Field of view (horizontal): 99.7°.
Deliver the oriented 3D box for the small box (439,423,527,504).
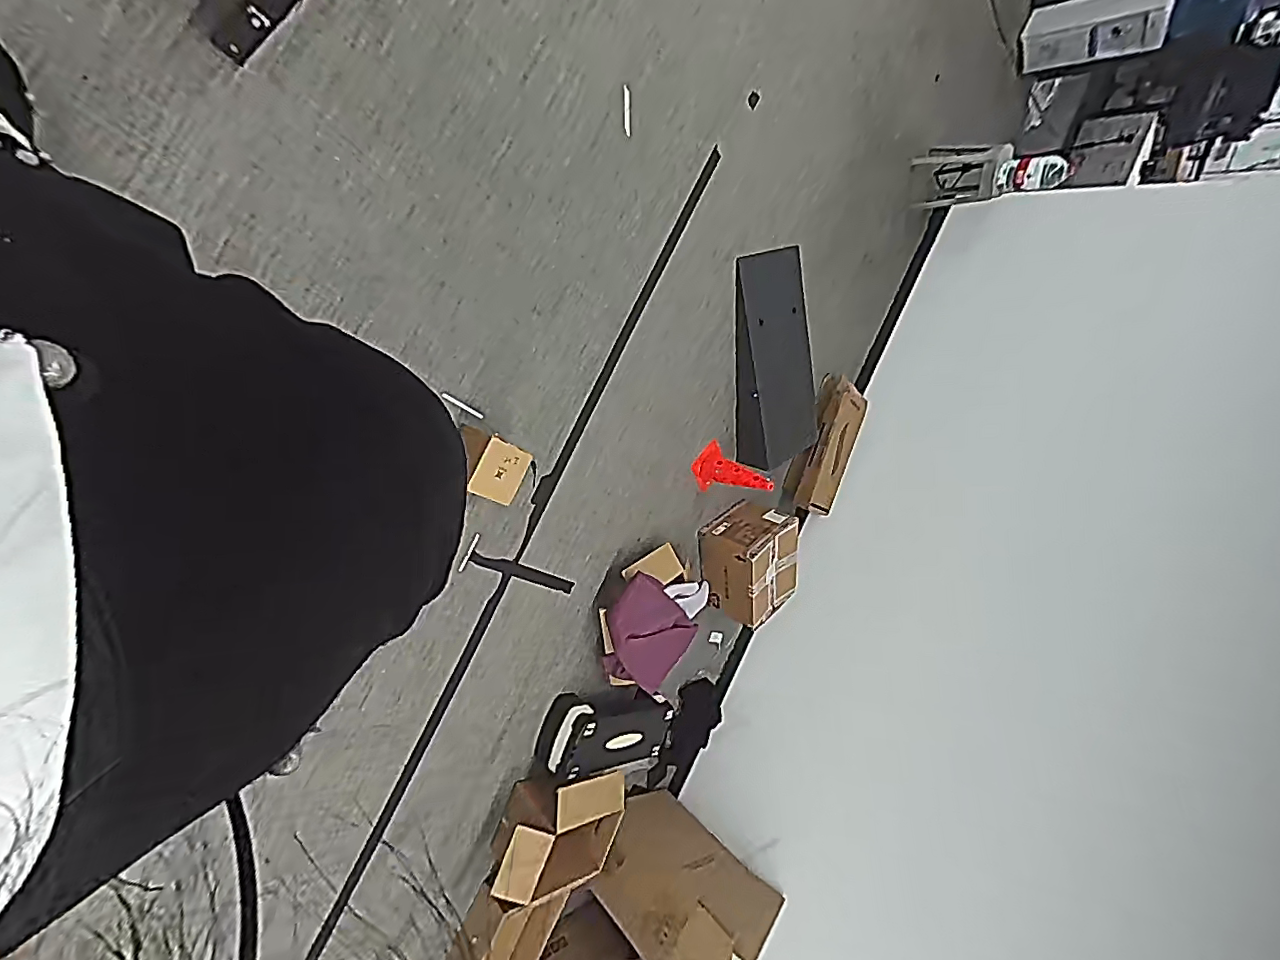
[{"bbox_3d":[-0.484,-0.053,1.645,0.168,0.176,0.179,30,84,-49],"label":"small box"}]
